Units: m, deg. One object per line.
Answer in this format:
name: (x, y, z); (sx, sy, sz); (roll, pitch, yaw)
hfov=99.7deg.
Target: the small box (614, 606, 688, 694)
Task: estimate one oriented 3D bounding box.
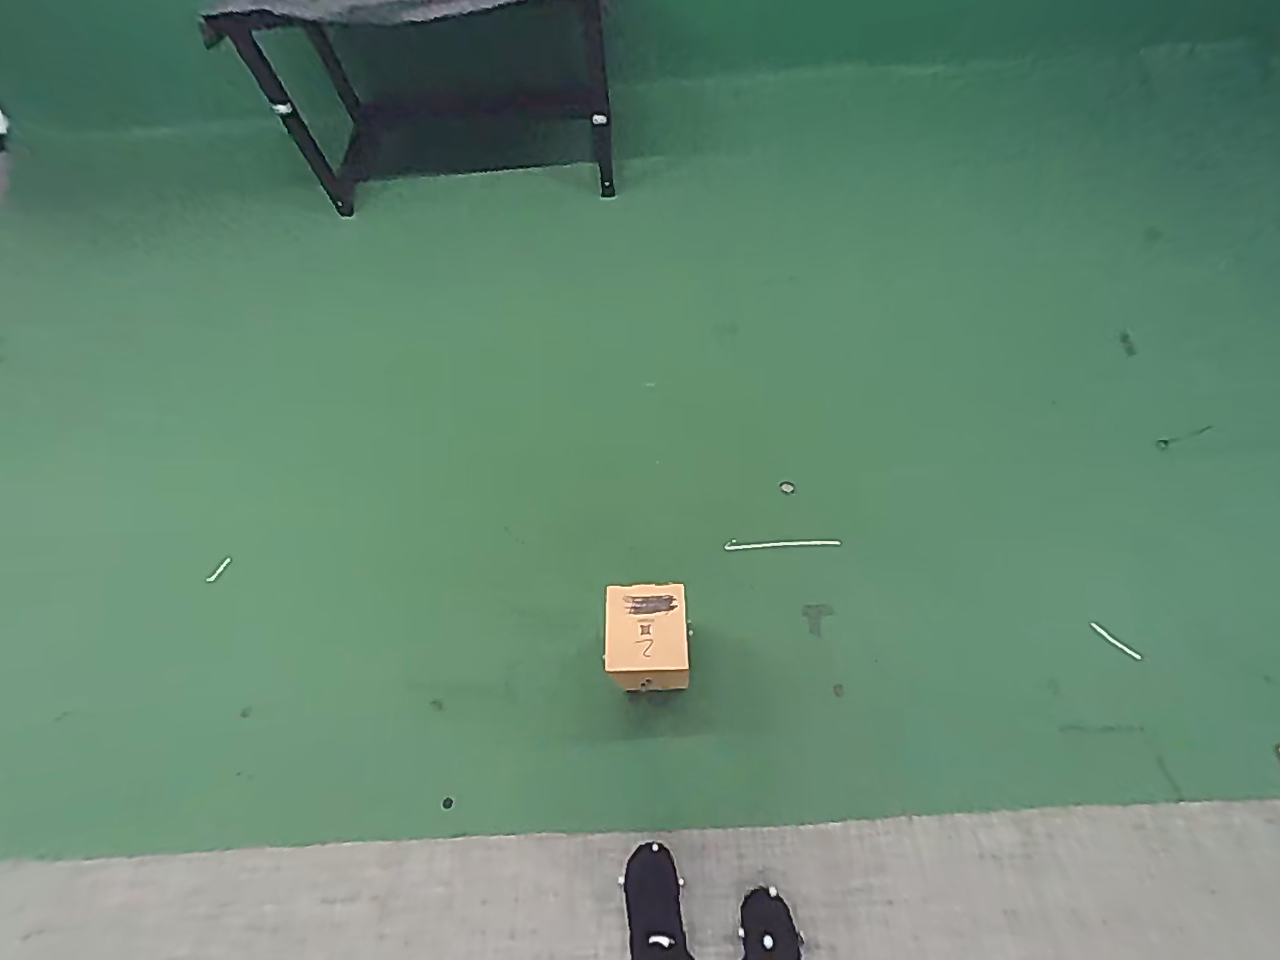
small box: (0.030, 0.415, 1.302); (0.168, 0.176, 0.179); (-3, 60, 3)
